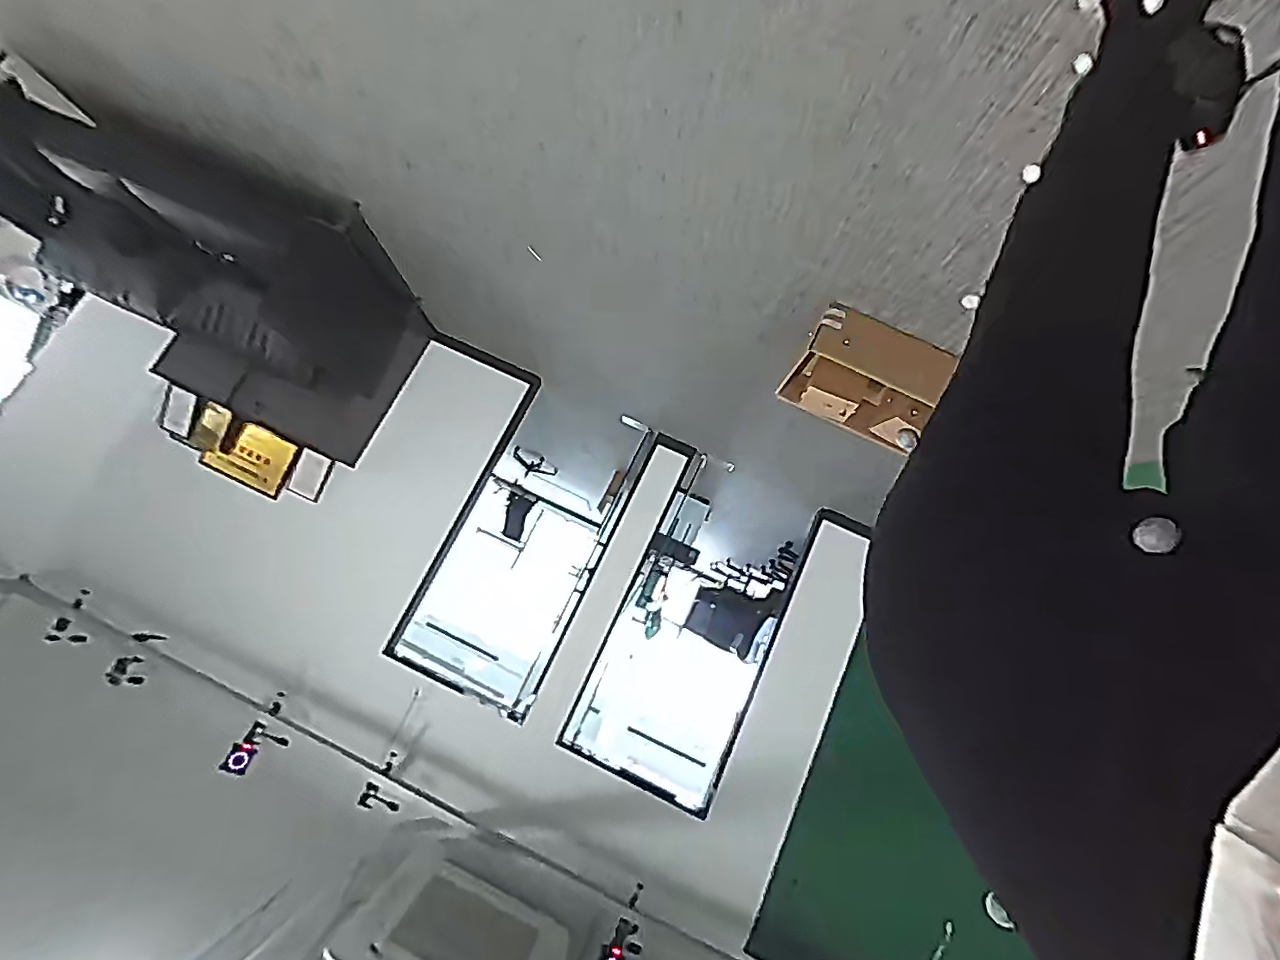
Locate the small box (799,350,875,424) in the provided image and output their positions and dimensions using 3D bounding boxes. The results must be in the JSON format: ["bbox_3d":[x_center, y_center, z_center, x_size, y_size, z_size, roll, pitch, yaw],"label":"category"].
[{"bbox_3d":[0.687,-0.329,1.892,0.179,0.176,0.168,24,167,8],"label":"small box"}]
